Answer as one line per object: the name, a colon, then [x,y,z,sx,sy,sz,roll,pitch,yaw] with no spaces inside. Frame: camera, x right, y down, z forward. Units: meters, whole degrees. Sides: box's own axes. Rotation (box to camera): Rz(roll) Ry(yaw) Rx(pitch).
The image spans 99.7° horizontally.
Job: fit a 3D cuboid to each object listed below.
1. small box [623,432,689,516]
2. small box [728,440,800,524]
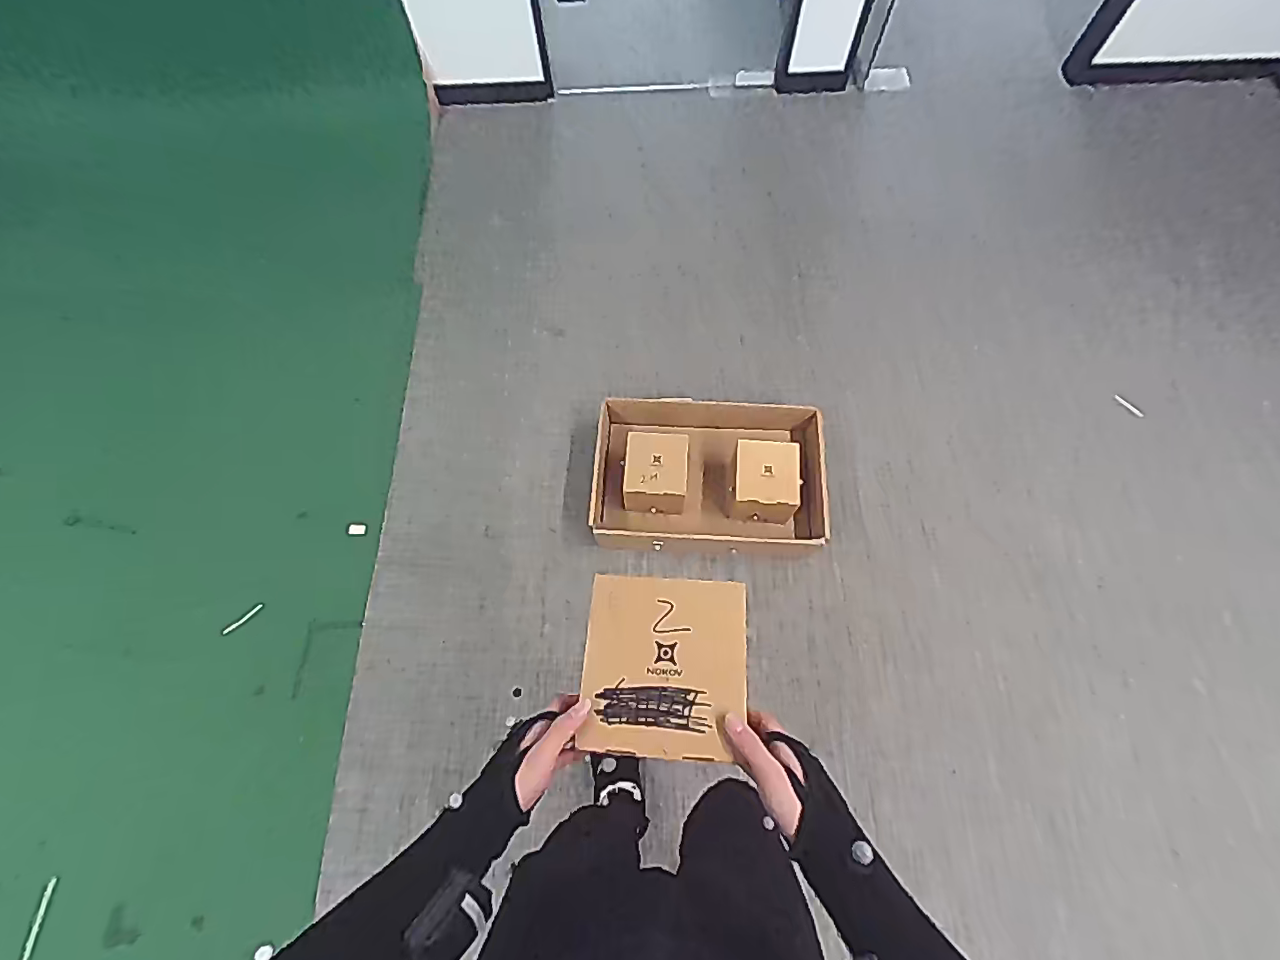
small box: [0.045,-0.013,1.493,0.168,0.176,0.179,3,68,3]
small box: [0.335,0.008,1.478,0.168,0.176,0.179,4,69,3]
